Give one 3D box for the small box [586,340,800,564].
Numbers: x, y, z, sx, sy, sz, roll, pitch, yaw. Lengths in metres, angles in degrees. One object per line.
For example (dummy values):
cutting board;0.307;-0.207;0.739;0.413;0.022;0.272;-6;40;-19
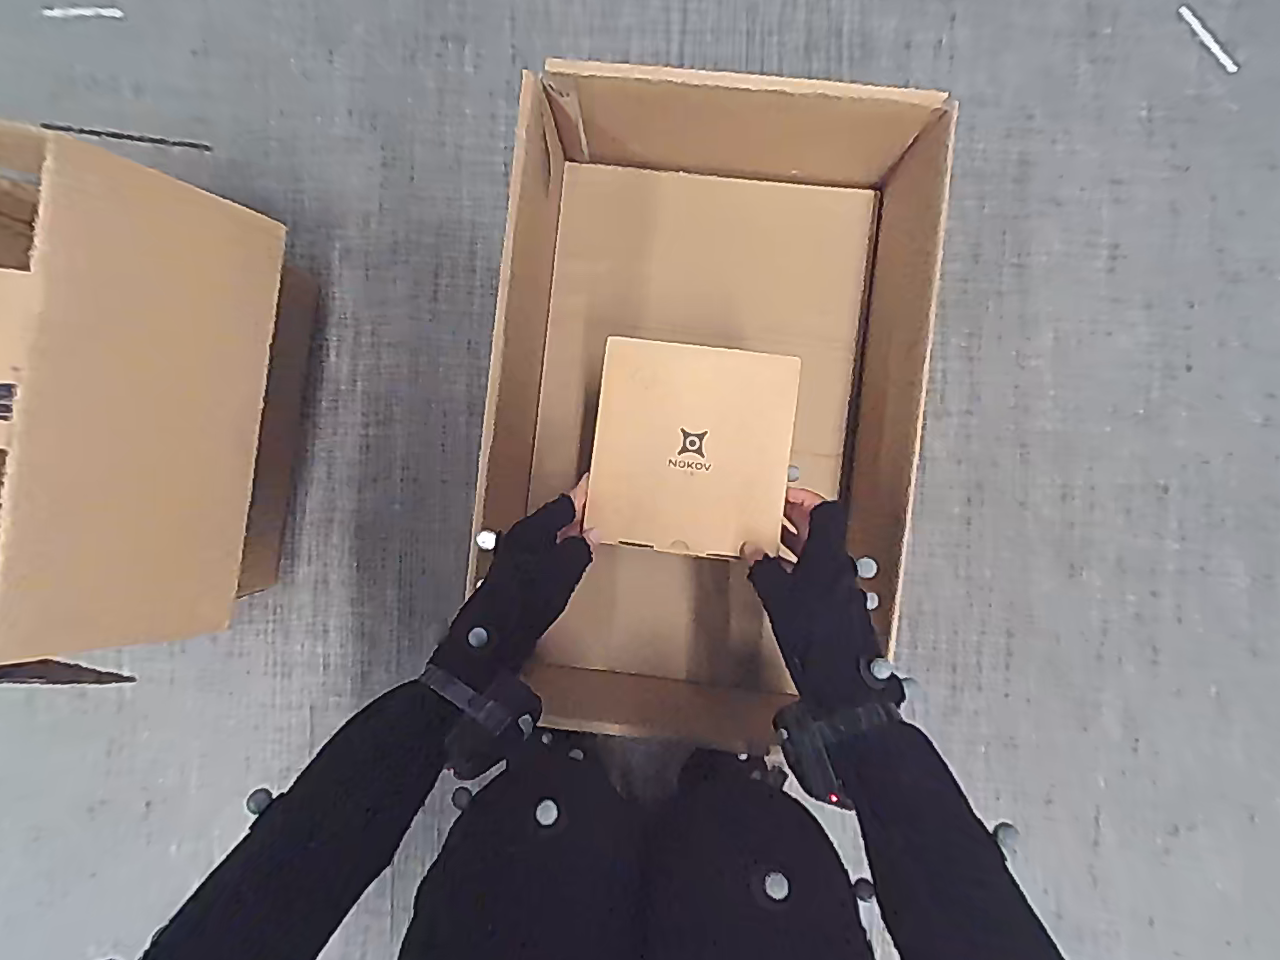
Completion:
small box;0.049;-0.022;0.533;0.168;0.176;0.179;6;89;4
